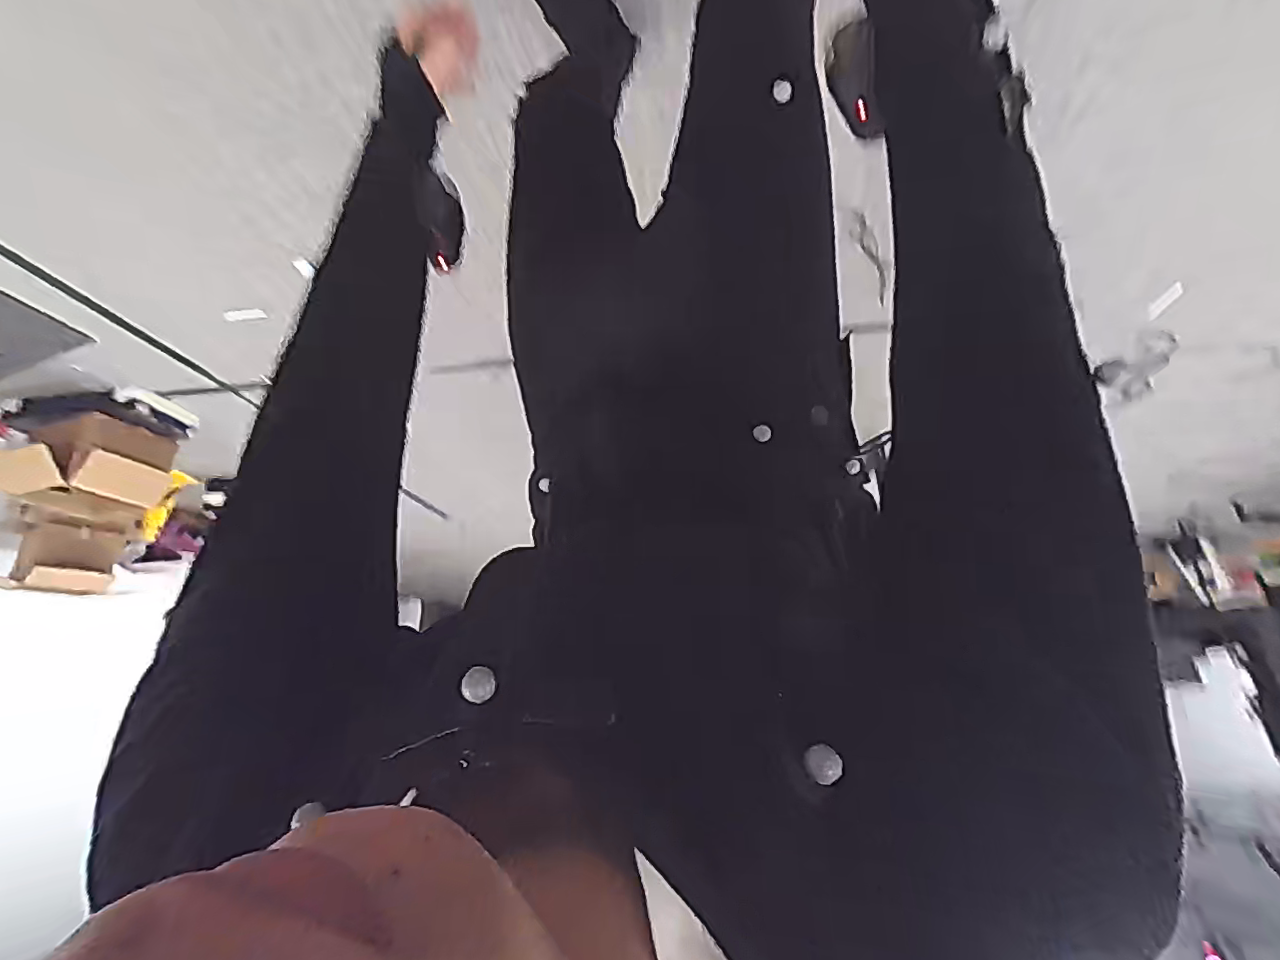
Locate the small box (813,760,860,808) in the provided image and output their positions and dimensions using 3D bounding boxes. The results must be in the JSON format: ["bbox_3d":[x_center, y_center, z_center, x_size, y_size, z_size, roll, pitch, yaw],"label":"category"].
[{"bbox_3d":[0.876,1.357,2.419,0.168,0.176,0.179,-5,159,11],"label":"small box"}]
